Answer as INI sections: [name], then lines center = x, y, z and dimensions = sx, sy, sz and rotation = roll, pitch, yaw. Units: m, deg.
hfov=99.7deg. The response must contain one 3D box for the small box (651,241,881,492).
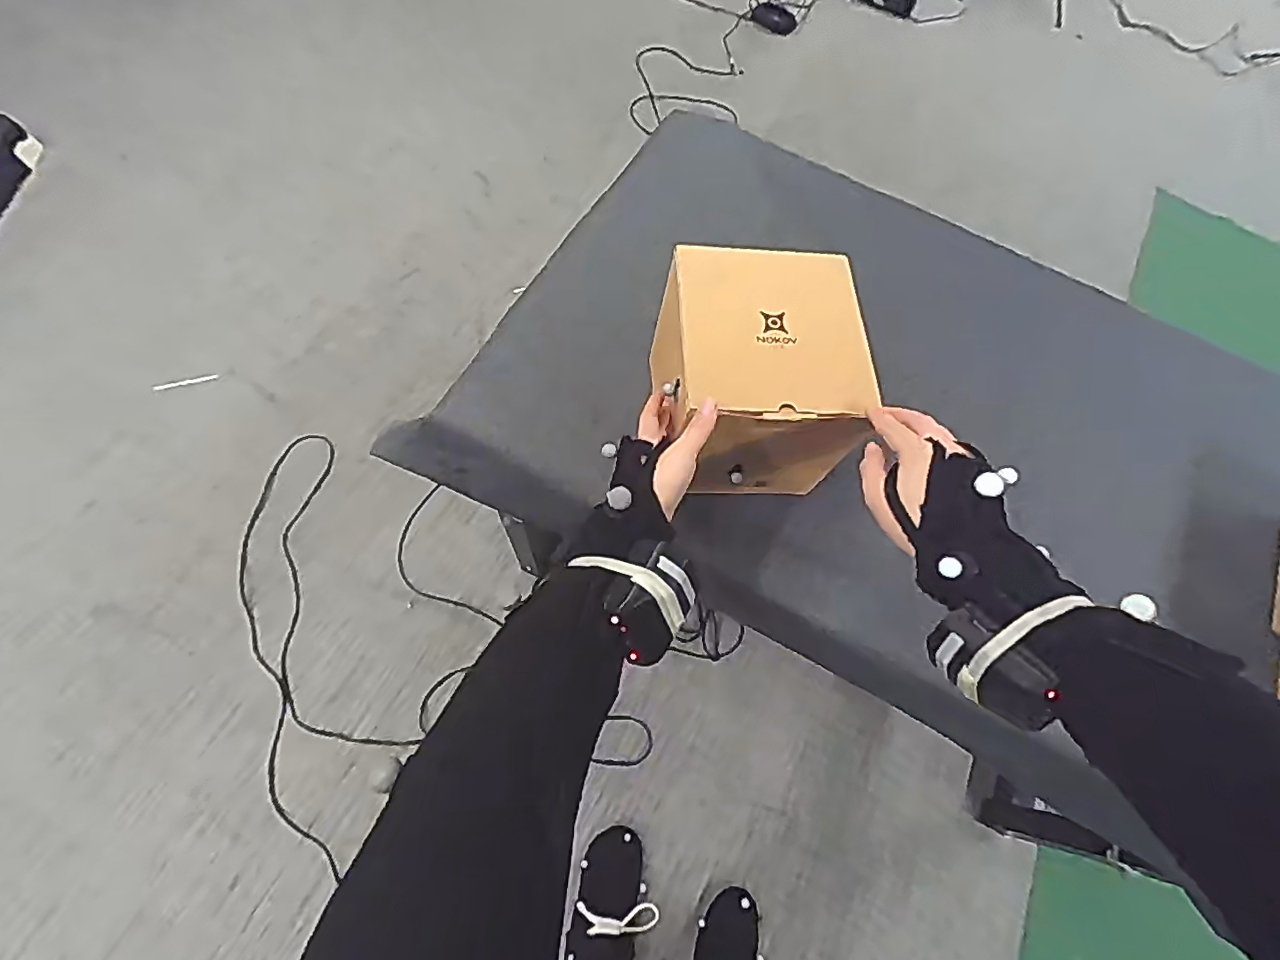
[small box]
center = 0.104, -0.101, 0.534
dimensions = 0.168, 0.176, 0.179
rotation = 1, 67, -7
